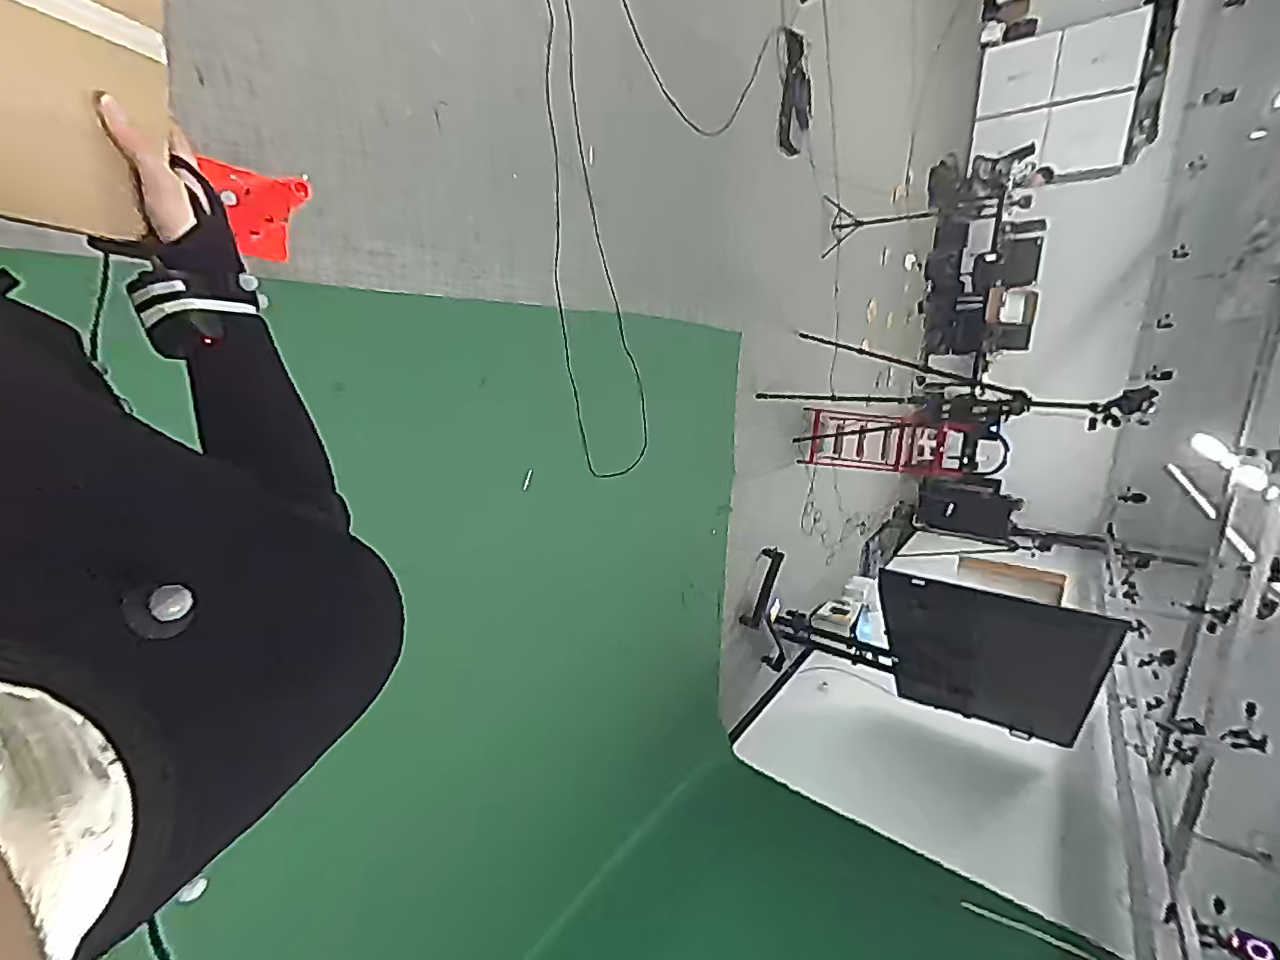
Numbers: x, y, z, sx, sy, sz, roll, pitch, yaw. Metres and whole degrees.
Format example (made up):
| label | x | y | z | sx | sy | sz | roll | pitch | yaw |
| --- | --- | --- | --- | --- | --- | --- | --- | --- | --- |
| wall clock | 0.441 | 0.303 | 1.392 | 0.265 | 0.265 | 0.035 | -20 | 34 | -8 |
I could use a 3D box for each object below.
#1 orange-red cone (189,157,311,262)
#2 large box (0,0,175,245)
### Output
| label | x | y | z | sx | sy | sz | roll | pitch | yaw |
| --- | --- | --- | --- | --- | --- | --- | --- | --- | --- |
| orange-red cone | -0.846 | -0.631 | 1.233 | 0.199 | 0.360 | 0.198 | -5 | 104 | -54 |
| large box | -0.635 | -0.380 | 0.379 | 0.408 | 0.320 | 0.320 | -9 | 115 | -54 |
